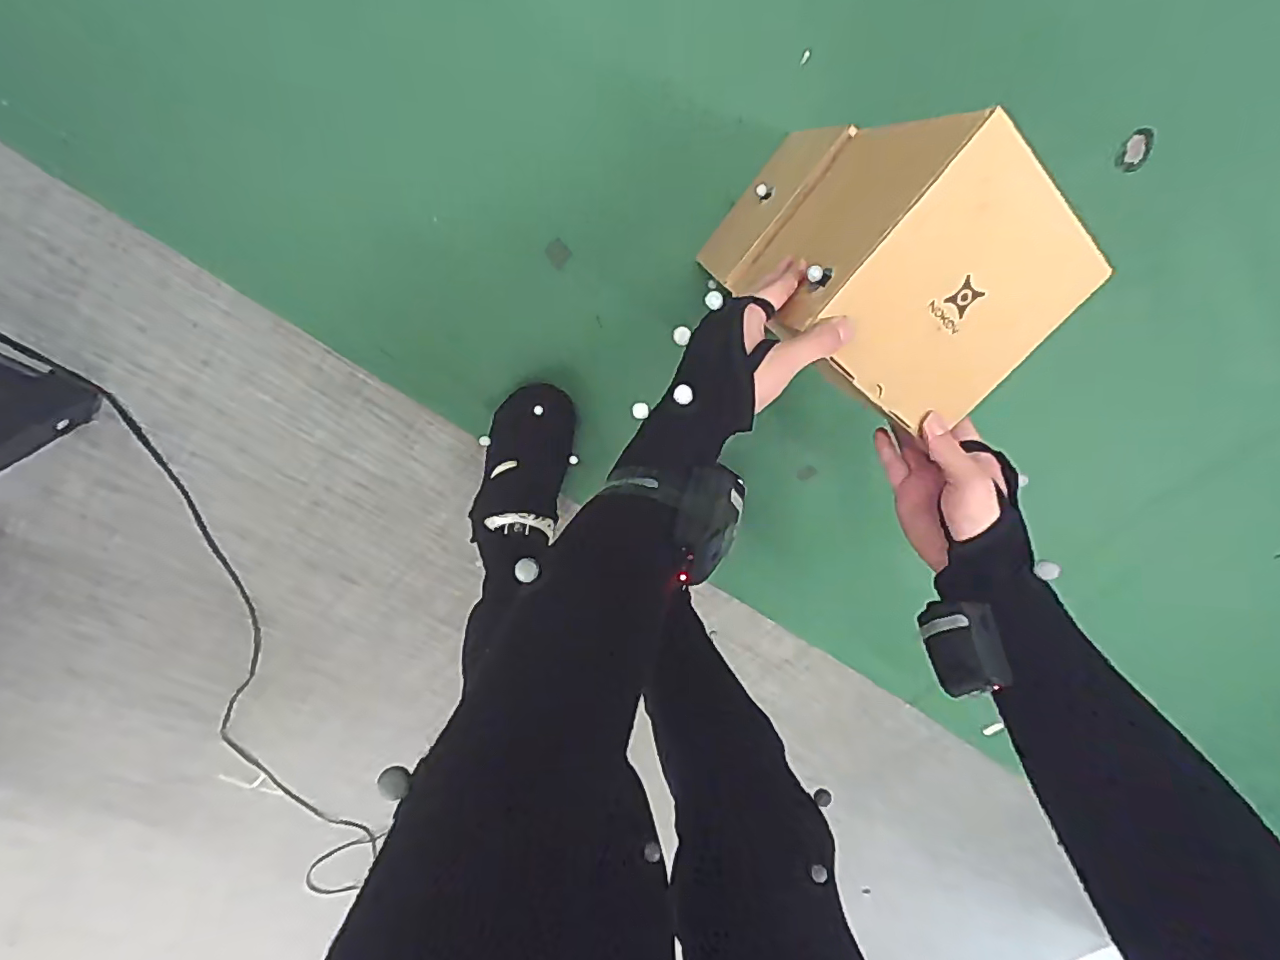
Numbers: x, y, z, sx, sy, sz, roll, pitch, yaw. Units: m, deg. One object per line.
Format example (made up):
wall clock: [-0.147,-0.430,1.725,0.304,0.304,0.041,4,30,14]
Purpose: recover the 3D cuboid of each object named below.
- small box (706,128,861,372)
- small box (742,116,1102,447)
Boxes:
small box: [0.193,-0.259,0.616,0.168,0.176,0.179,32,112,-23]
small box: [0.216,-0.167,0.460,0.168,0.176,0.179,31,111,-25]
